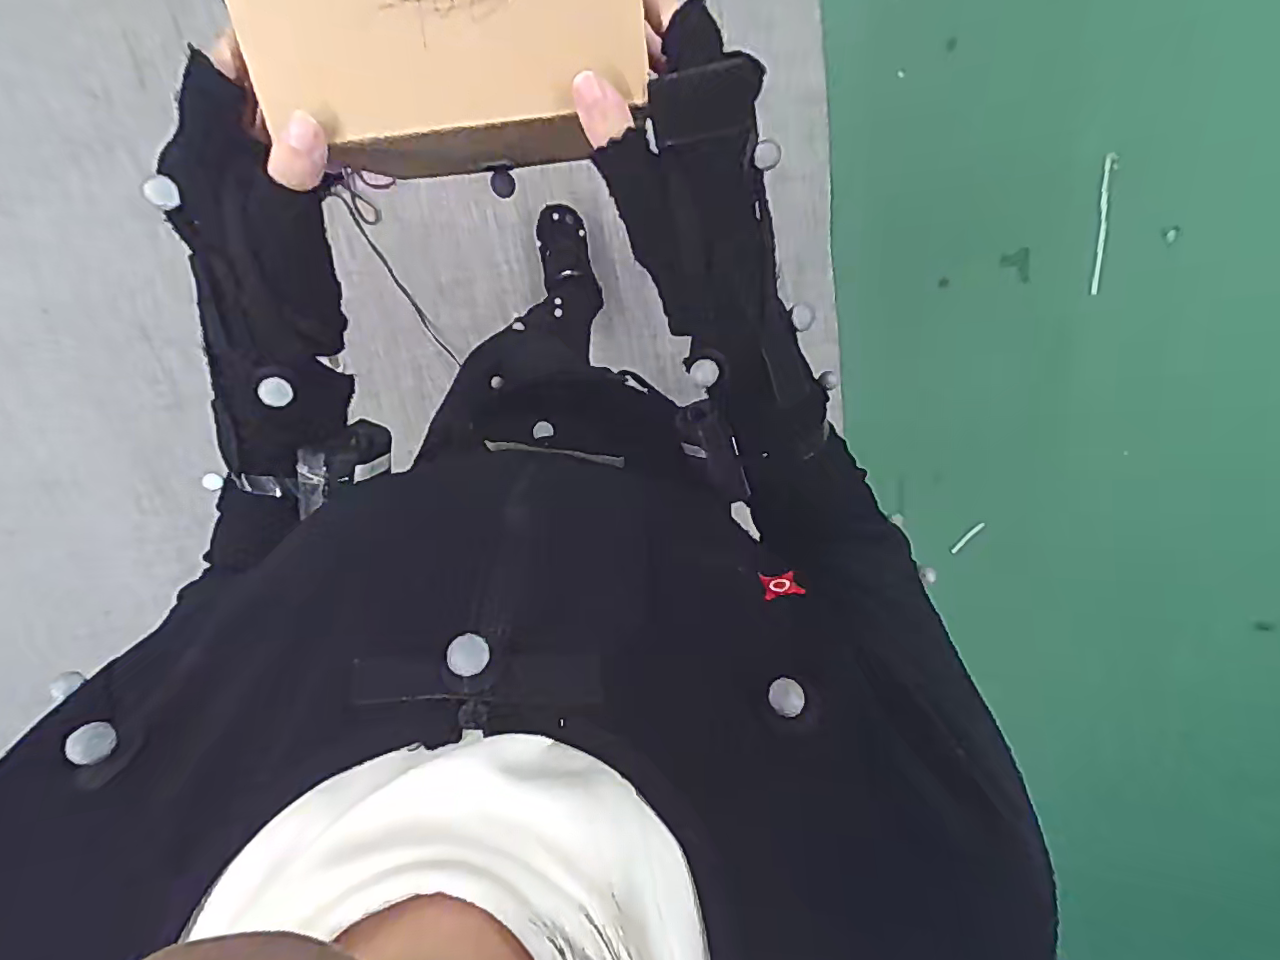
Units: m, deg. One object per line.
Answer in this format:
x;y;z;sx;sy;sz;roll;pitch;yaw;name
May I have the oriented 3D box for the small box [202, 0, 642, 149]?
-0.091;-0.273;0.252;0.168;0.176;0.179;-6;116;1;small box
